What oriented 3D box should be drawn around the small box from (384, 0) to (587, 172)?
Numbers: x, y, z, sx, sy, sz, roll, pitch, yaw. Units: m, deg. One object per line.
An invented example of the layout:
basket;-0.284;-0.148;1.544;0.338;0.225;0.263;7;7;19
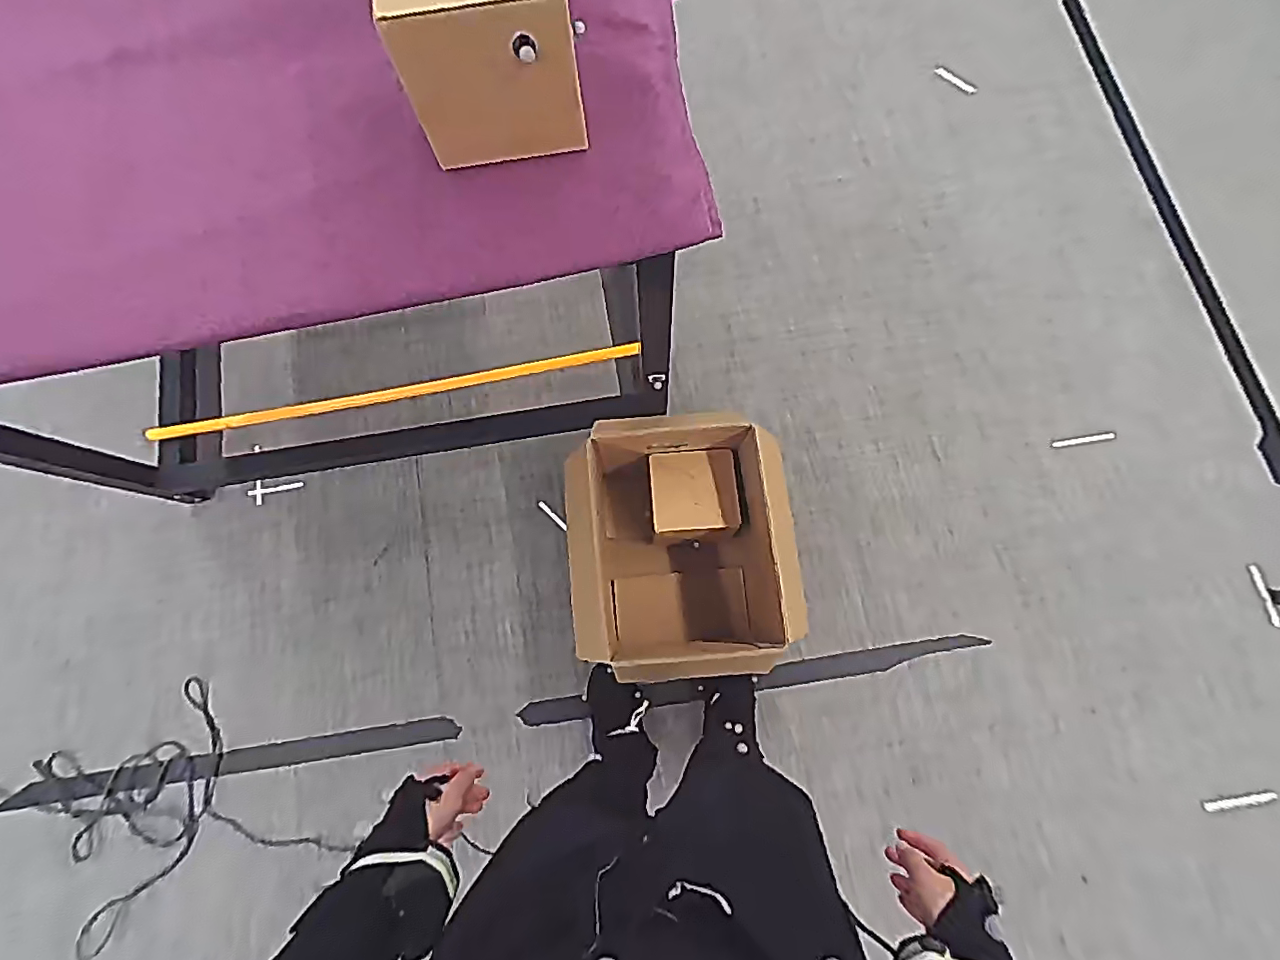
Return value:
small box;-0.154;-0.471;0.586;0.179;0.176;0.168;-8;74;-1
